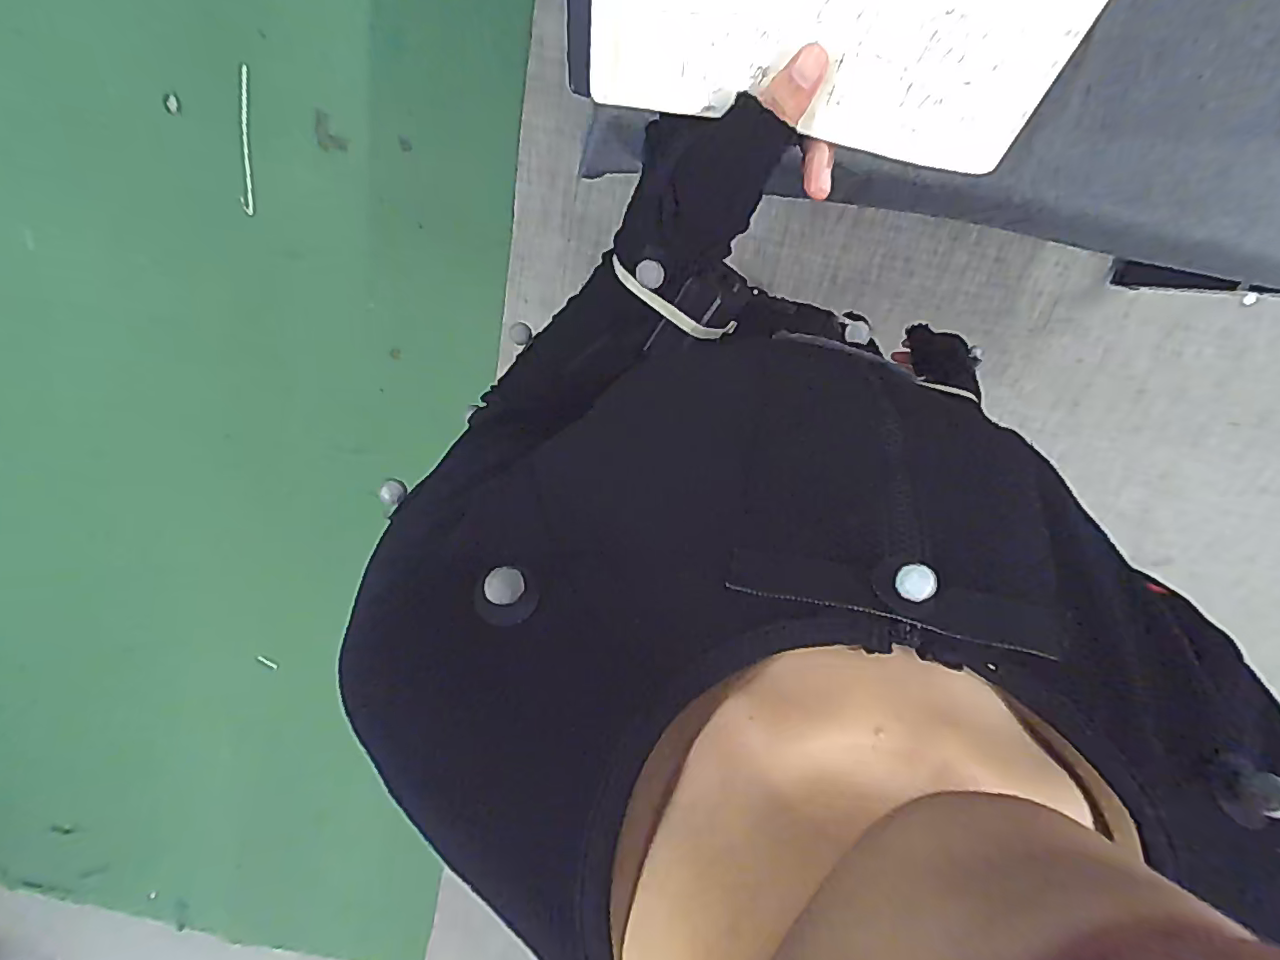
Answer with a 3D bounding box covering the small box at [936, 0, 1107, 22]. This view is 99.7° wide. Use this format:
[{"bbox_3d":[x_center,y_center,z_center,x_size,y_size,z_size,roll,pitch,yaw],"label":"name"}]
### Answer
[{"bbox_3d":[0.368,-0.524,0.439,0.168,0.176,0.179,8,111,2],"label":"small box"}]
